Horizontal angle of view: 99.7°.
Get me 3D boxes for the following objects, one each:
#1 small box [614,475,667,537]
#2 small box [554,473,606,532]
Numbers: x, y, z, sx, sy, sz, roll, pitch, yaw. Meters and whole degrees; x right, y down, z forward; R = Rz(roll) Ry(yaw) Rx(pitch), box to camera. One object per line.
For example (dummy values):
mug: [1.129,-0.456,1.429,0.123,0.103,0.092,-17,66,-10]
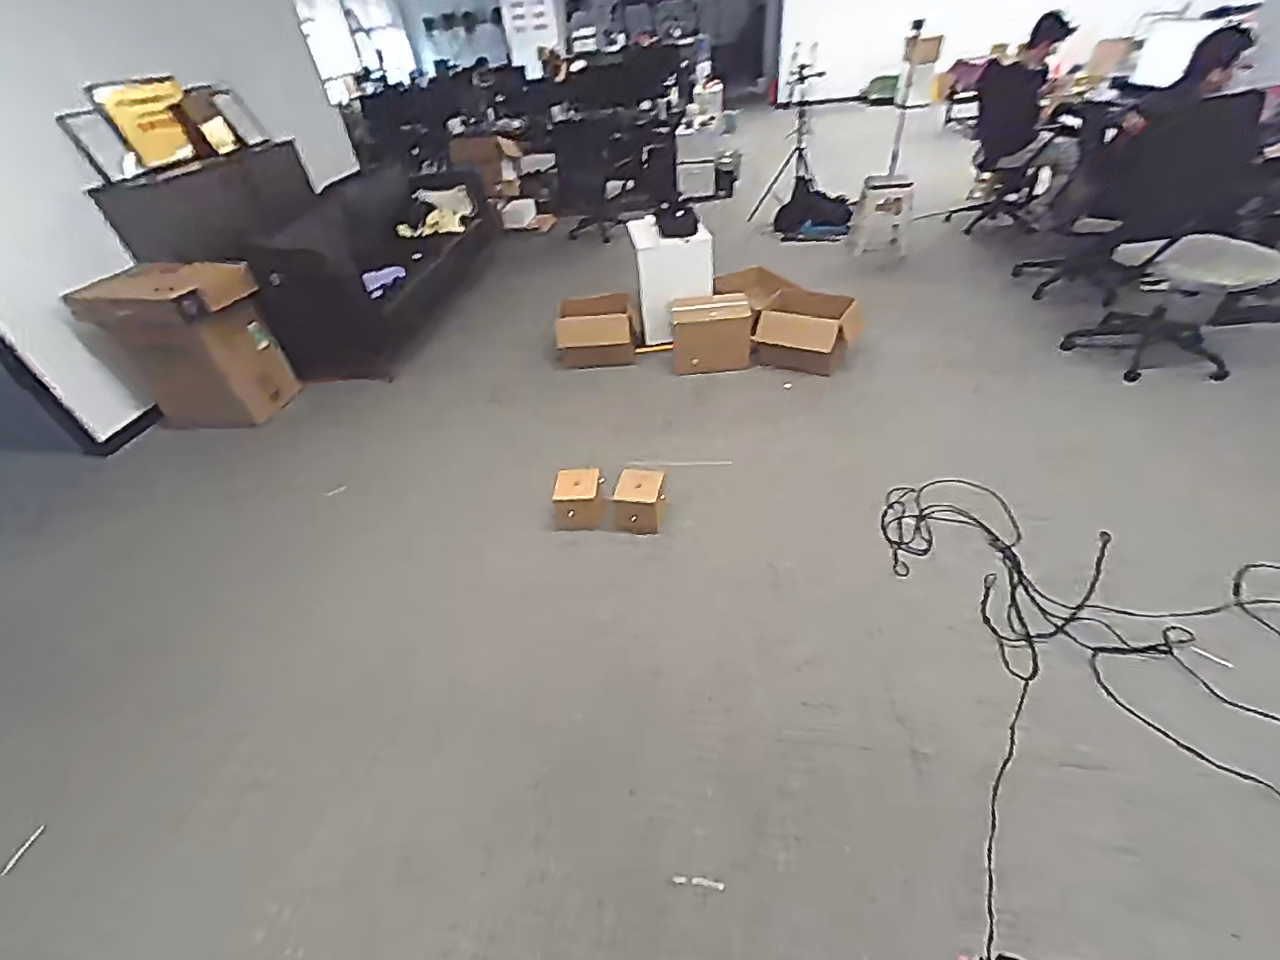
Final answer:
small box: [0.010,0.101,2.101,0.168,0.176,0.179,4,41,13]
small box: [-0.231,0.096,2.148,0.168,0.176,0.179,-3,40,5]
